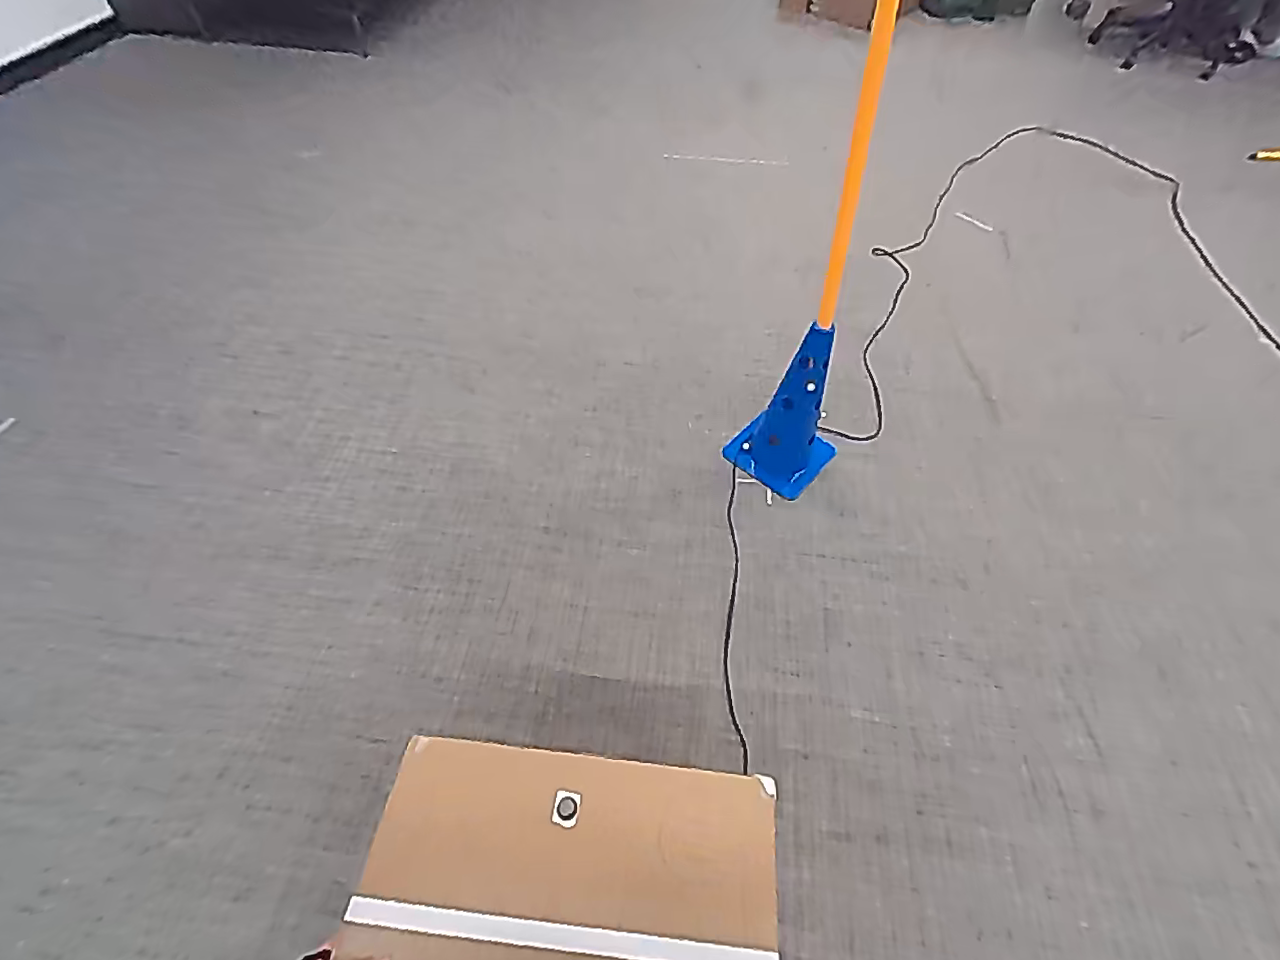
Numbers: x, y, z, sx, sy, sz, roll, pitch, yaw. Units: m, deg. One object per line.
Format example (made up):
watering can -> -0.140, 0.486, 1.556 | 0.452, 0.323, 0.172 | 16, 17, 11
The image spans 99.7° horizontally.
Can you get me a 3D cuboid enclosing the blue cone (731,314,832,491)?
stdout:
blue cone -> 0.323, -0.165, 1.090 | 0.192, 0.380, 0.193 | 35, 61, 22
